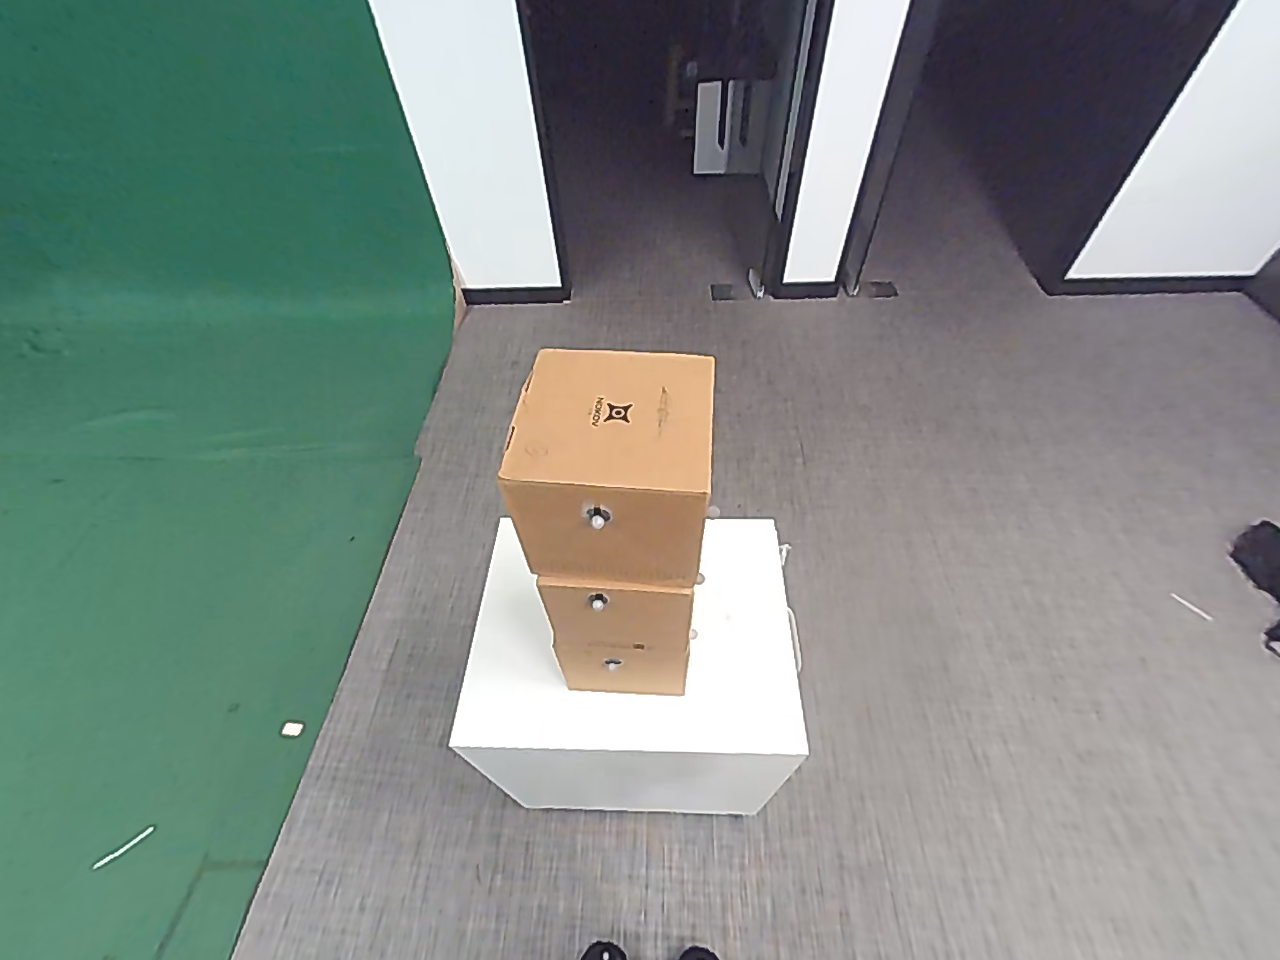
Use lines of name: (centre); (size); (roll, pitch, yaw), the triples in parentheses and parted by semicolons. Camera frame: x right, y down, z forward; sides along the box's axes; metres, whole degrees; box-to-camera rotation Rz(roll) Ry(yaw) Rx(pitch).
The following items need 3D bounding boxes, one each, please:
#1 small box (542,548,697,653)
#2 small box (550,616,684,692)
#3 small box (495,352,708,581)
small box: (-0.019, 0.098, 0.678); (0.168, 0.176, 0.179); (2, 51, 2)
small box: (-0.022, 0.202, 0.800); (0.179, 0.176, 0.168); (2, 51, 3)
small box: (-0.025, -0.009, 0.553); (0.179, 0.176, 0.168); (4, 53, 4)
